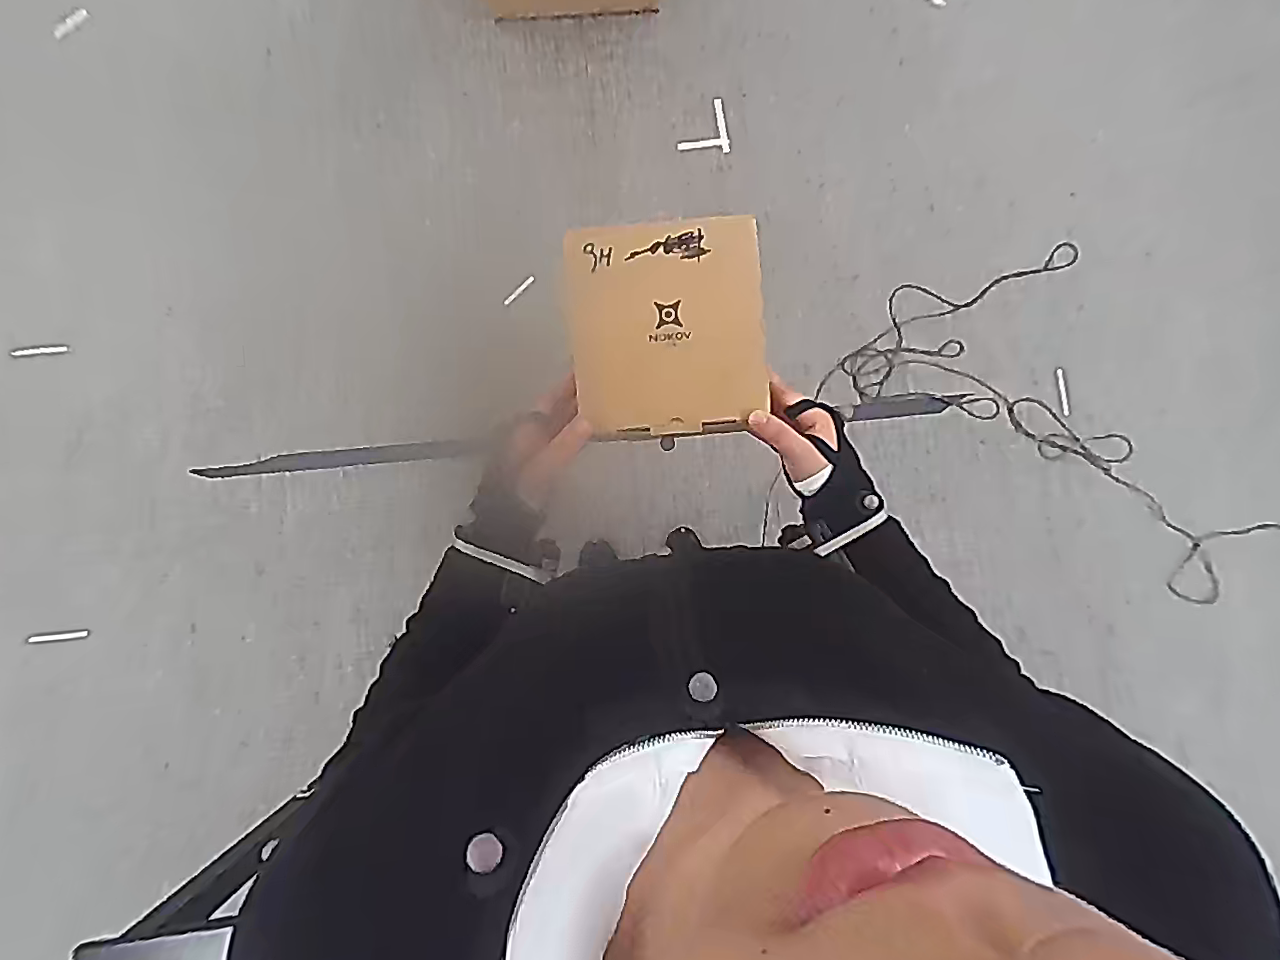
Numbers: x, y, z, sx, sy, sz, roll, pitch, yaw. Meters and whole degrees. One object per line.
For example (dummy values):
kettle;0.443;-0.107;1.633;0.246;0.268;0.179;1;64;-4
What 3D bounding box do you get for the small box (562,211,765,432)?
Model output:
small box;0.020;-0.139;0.539;0.168;0.176;0.179;-5;93;-2
